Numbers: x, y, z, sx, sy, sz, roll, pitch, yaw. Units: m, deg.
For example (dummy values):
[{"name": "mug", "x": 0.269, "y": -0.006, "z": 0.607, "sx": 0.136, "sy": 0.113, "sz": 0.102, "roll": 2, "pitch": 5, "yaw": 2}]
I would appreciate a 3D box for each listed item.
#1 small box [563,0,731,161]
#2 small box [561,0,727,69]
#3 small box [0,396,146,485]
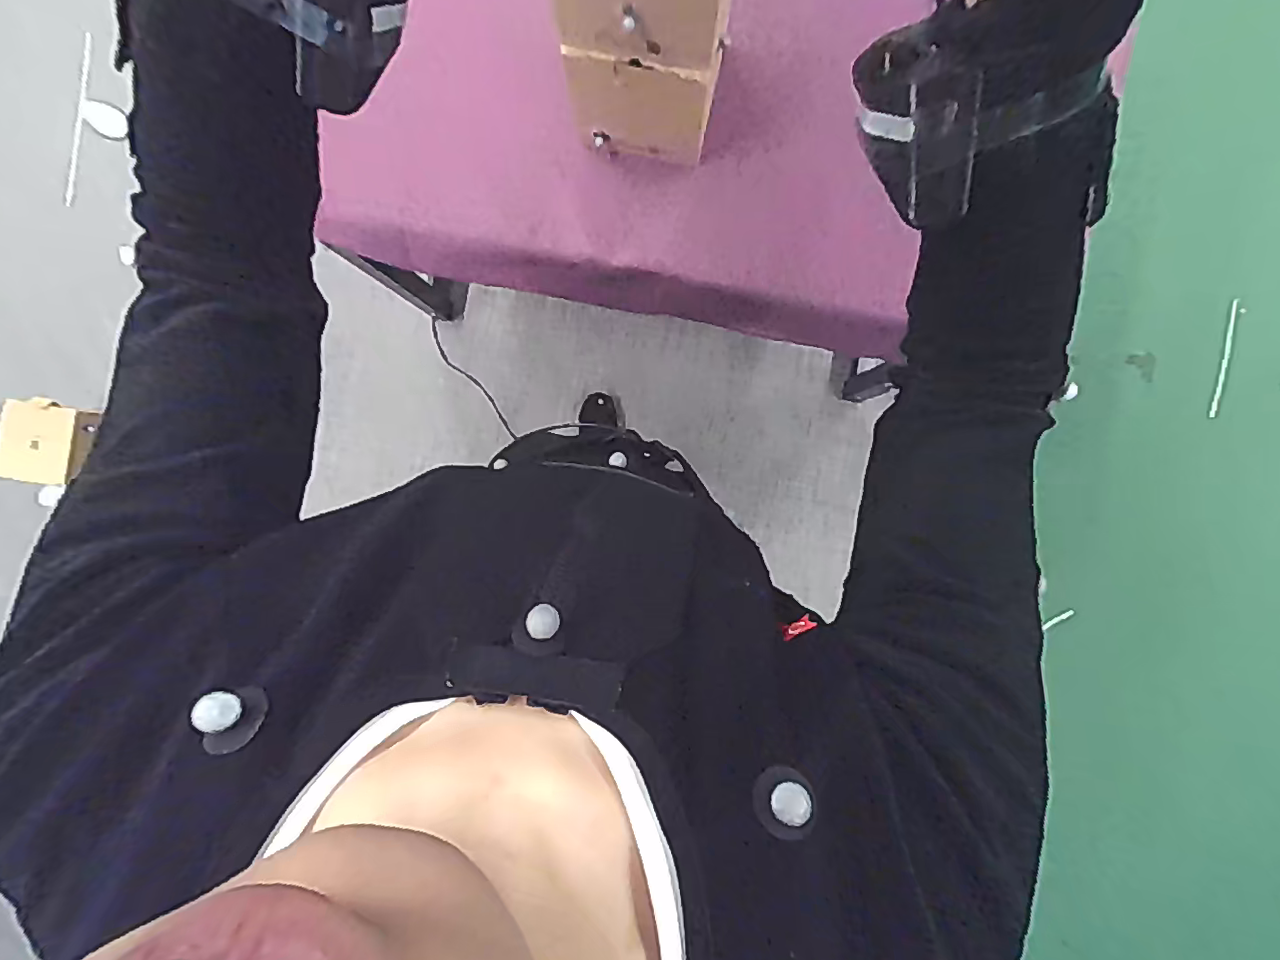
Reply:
[{"name": "small box", "x": 0.016, "y": -0.530, "z": 0.660, "sx": 0.168, "sy": 0.176, "sz": 0.179, "roll": 12, "pitch": 90, "yaw": 1}, {"name": "small box", "x": 0.012, "y": -0.536, "z": 0.496, "sx": 0.168, "sy": 0.176, "sz": 0.179, "roll": 12, "pitch": 91, "yaw": 2}, {"name": "small box", "x": -1.318, "y": -0.088, "z": 1.267, "sx": 0.168, "sy": 0.176, "sz": 0.179, "roll": 9, "pitch": 91, "yaw": 1}]
